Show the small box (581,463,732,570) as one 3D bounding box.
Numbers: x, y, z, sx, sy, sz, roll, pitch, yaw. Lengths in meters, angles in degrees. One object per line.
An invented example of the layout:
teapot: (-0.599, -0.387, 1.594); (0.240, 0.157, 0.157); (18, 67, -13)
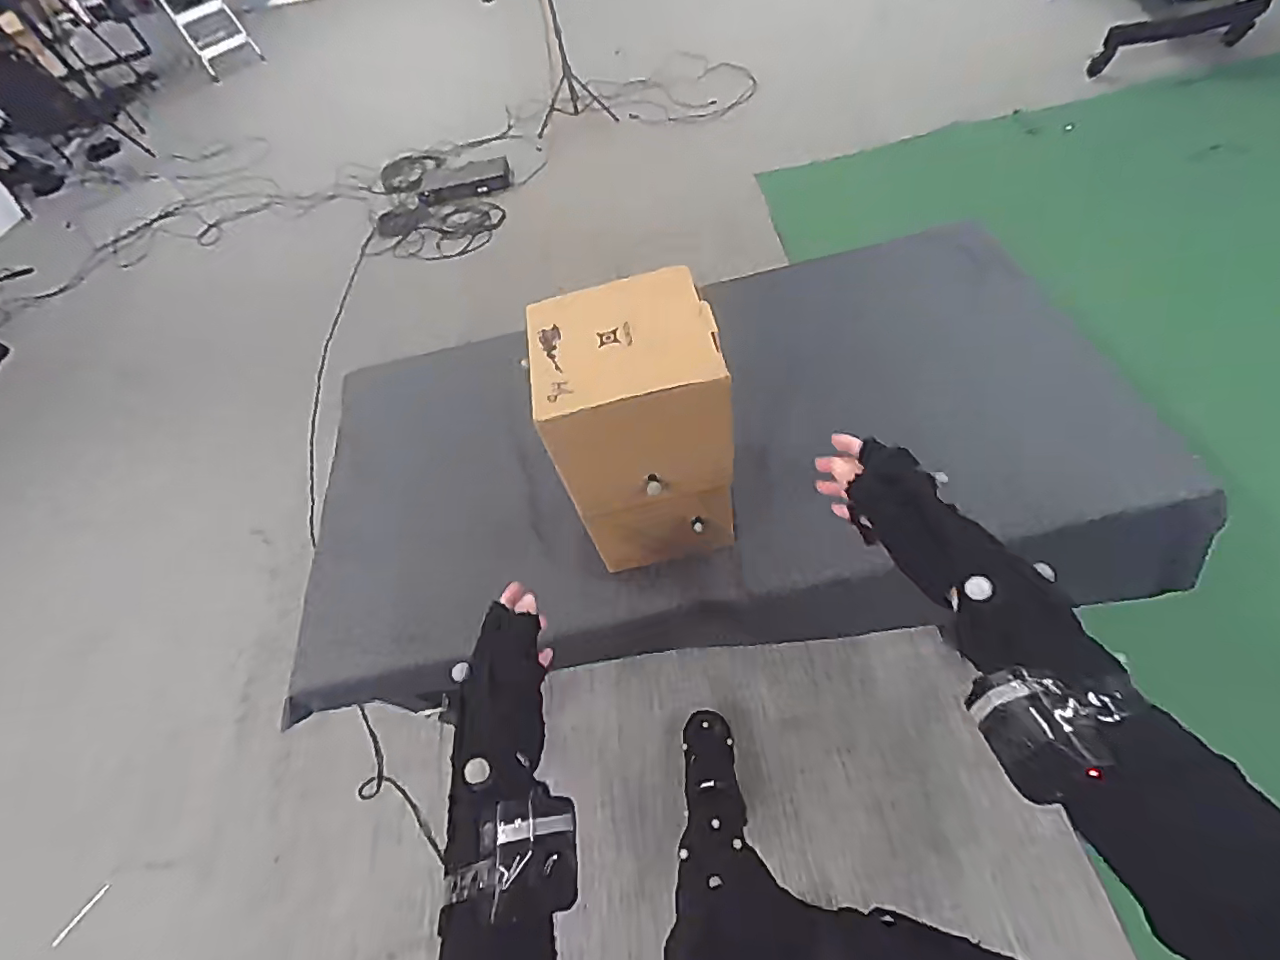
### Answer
small box: (0.019, -0.001, 0.716); (0.179, 0.176, 0.168); (-14, 55, 4)

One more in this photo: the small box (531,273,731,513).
small box: (-0.006, -0.086, 0.577); (0.179, 0.176, 0.168); (-12, 54, 2)
